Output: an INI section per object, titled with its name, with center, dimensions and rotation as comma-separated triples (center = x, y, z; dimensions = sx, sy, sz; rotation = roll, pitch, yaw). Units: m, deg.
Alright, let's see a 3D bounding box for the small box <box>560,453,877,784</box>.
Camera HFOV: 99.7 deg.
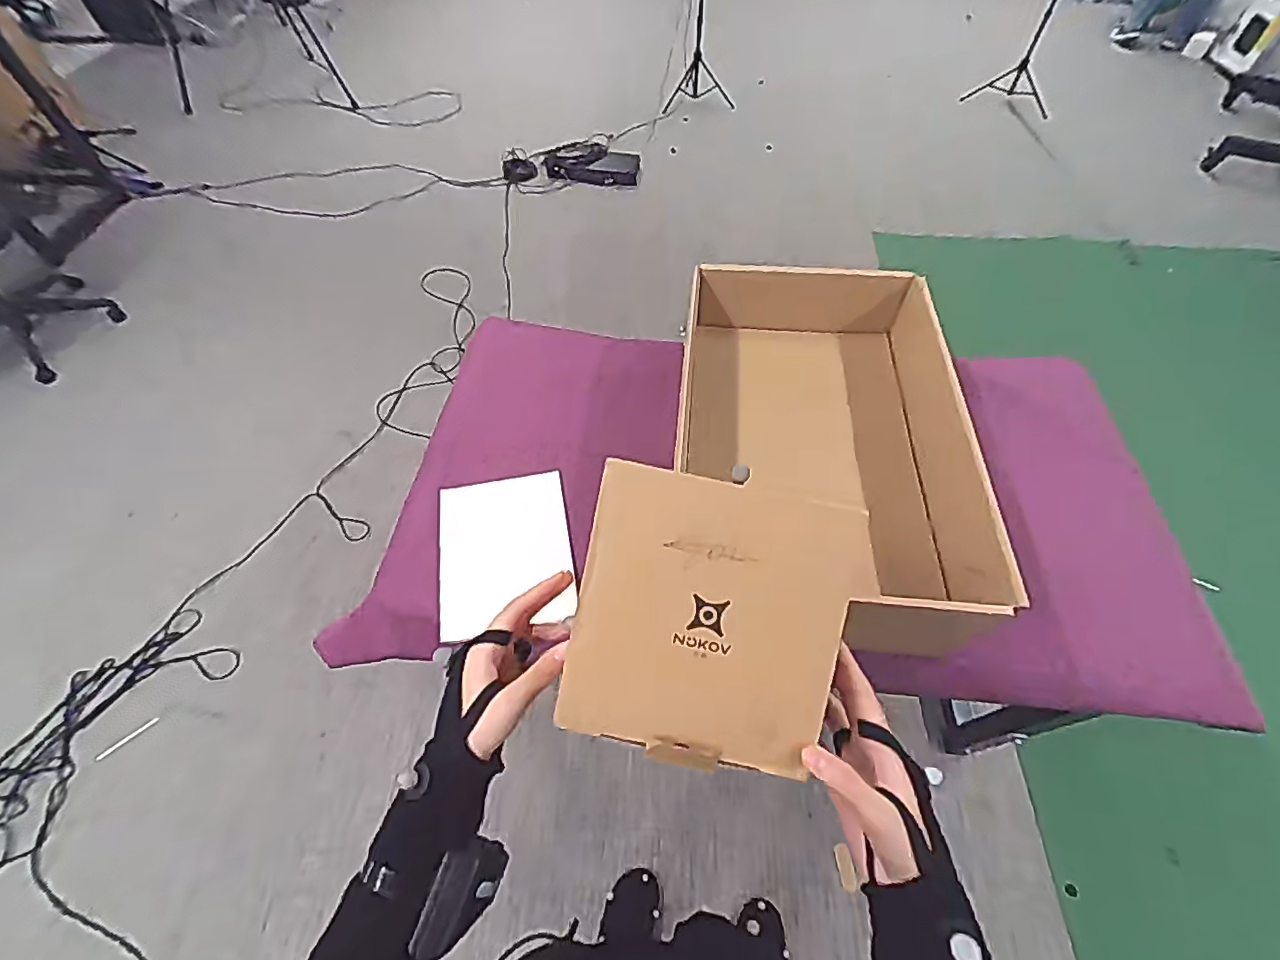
[small box]
center = 0.050, 0.085, 0.412
dimensions = 0.168, 0.176, 0.179
rotation = 13, 90, 1
